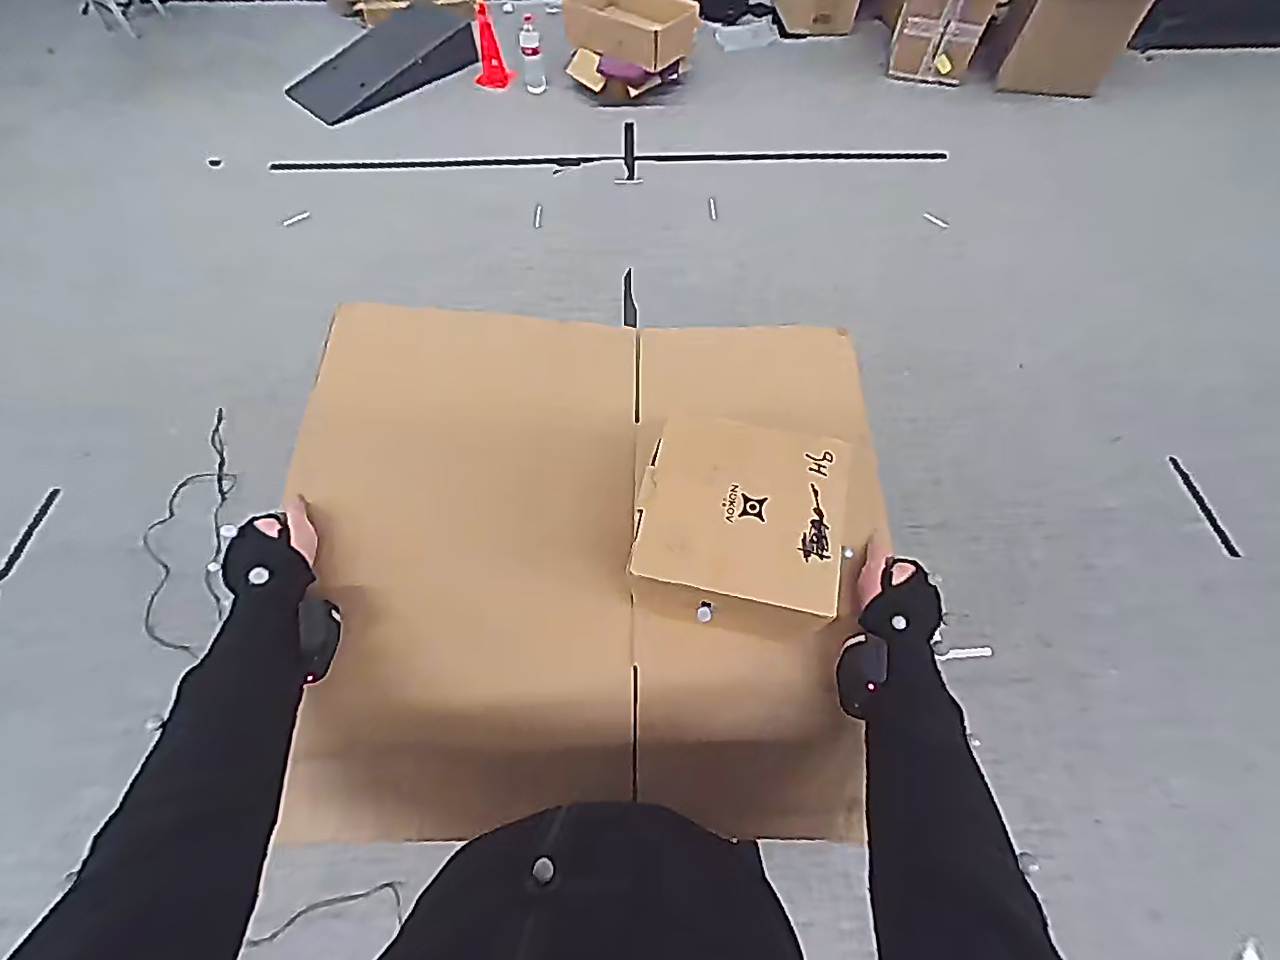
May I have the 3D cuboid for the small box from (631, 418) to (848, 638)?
[{"bbox_3d":[0.099,0.058,0.560,0.179,0.176,0.168,10,67,9],"label":"small box"}]
